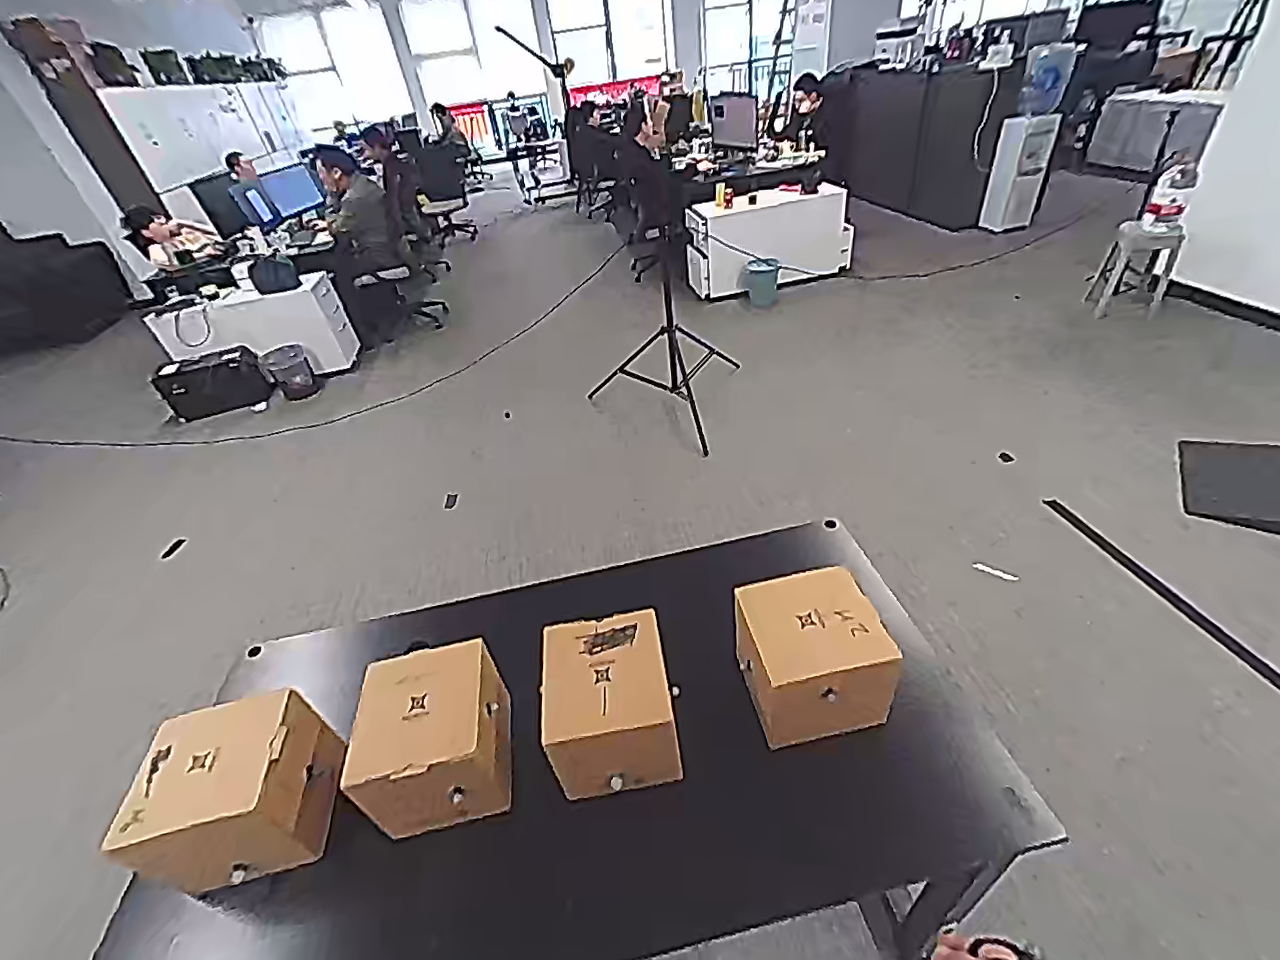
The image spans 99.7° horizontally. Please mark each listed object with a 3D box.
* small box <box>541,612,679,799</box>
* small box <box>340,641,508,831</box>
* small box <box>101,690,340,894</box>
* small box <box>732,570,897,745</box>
[{"bbox_3d":[-0.041,0.320,0.773,0.168,0.176,0.179,-9,38,-1],"label":"small box"},{"bbox_3d":[-0.287,0.364,0.765,0.168,0.176,0.179,-12,37,-6],"label":"small box"},{"bbox_3d":[-0.541,0.421,0.735,0.179,0.176,0.168,-12,38,-7],"label":"small box"},{"bbox_3d":[0.244,0.262,0.794,0.179,0.176,0.168,-11,38,-3],"label":"small box"}]
